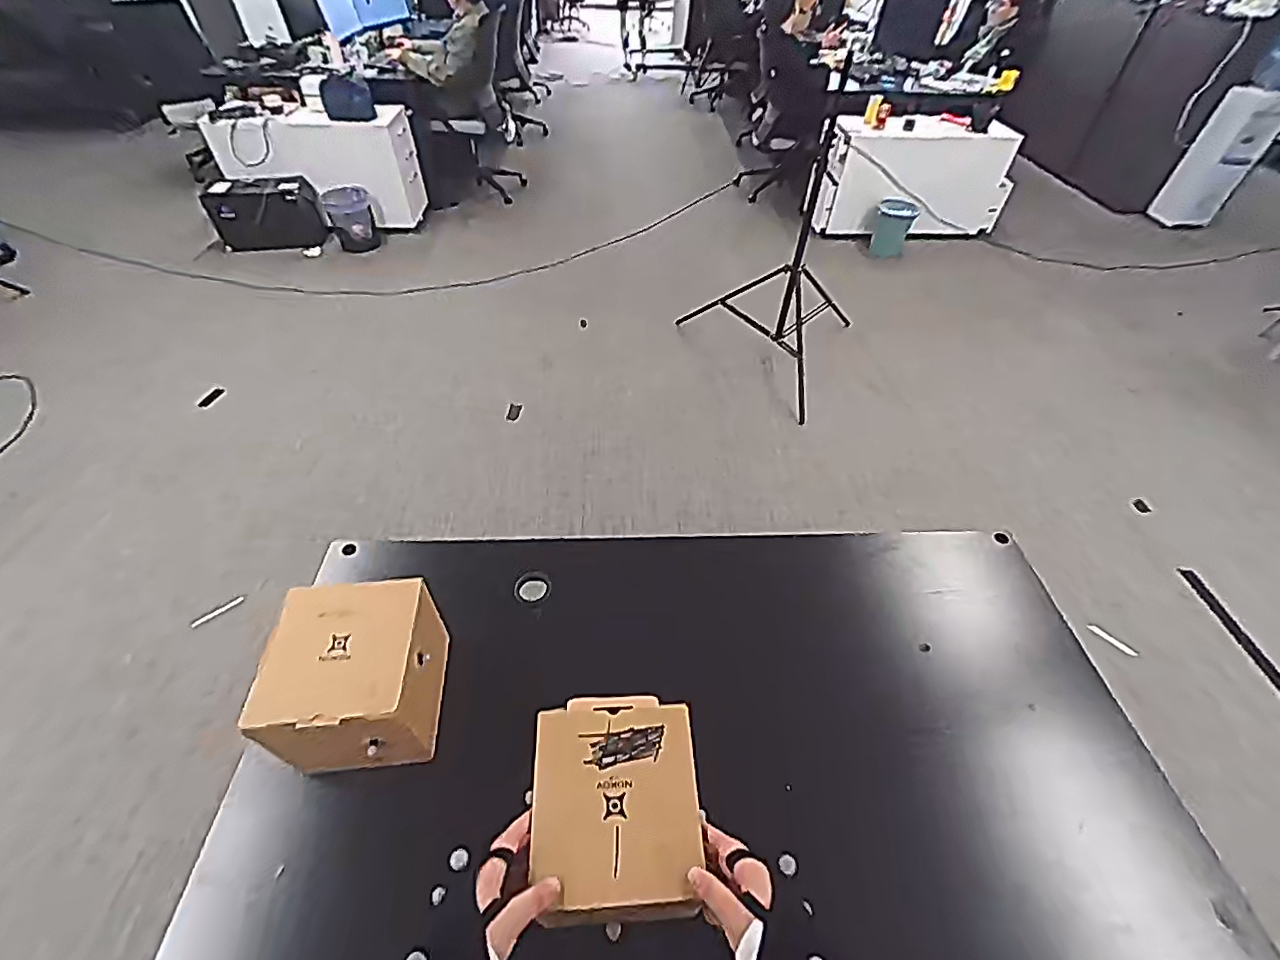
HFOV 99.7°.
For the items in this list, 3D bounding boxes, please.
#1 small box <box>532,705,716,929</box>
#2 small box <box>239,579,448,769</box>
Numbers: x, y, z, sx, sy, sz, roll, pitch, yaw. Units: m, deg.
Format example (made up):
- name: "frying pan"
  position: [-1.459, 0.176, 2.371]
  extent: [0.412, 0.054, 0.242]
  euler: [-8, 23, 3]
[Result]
- name: "small box"
  position: [-0.021, 0.366, 0.589]
  extent: [0.168, 0.176, 0.179]
  euler: [-2, 48, -3]
- name: "small box"
  position: [-0.351, 0.249, 0.686]
  extent: [0.168, 0.176, 0.179]
  euler: [-3, 47, -7]
